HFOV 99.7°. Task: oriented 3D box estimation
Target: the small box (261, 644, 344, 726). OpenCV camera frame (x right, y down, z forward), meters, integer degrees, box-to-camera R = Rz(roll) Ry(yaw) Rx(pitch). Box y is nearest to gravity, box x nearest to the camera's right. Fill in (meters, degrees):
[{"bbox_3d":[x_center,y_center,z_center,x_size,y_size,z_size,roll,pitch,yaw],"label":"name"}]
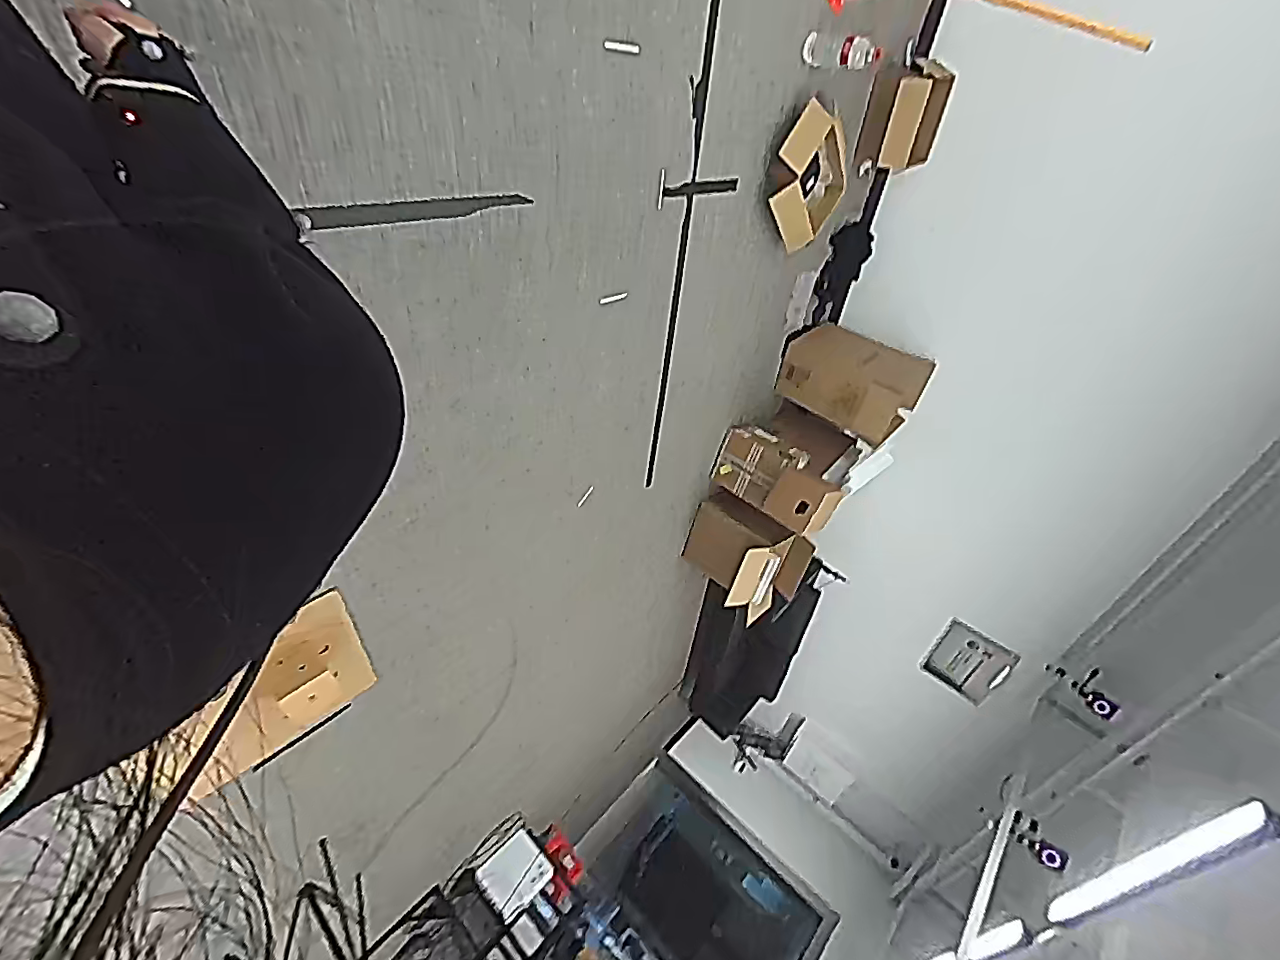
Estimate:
[{"bbox_3d":[-1.155,0.692,1.848,0.168,0.176,0.179,-34,143,-35],"label":"small box"}]
